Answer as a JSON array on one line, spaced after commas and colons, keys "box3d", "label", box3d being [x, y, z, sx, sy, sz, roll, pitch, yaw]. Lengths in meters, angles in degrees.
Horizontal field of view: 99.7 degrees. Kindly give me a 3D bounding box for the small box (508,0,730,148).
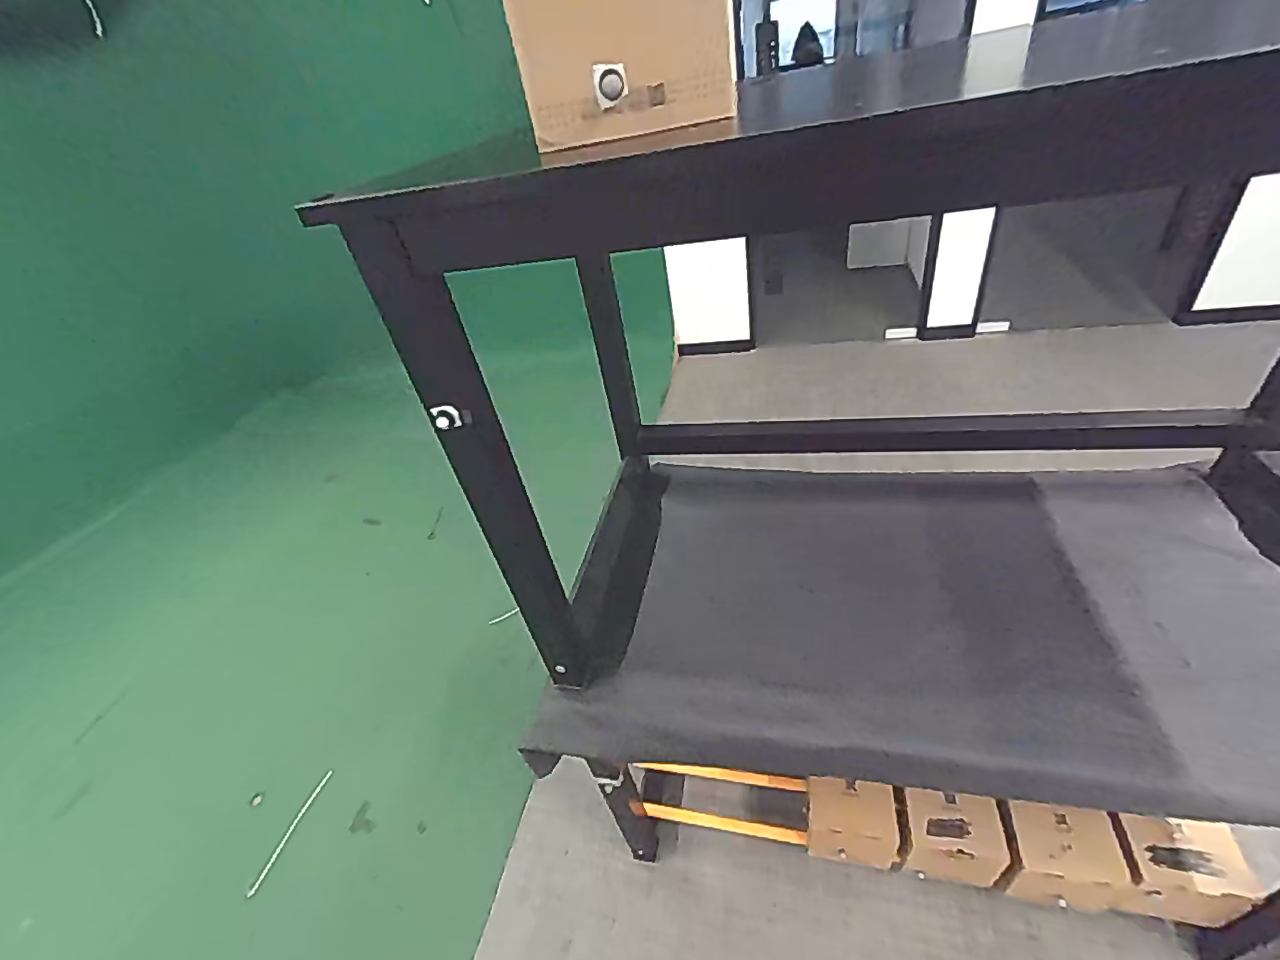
[{"box3d": [-0.017, -0.403, 0.468, 0.168, 0.176, 0.179, -8, 38, 7], "label": "small box"}]
